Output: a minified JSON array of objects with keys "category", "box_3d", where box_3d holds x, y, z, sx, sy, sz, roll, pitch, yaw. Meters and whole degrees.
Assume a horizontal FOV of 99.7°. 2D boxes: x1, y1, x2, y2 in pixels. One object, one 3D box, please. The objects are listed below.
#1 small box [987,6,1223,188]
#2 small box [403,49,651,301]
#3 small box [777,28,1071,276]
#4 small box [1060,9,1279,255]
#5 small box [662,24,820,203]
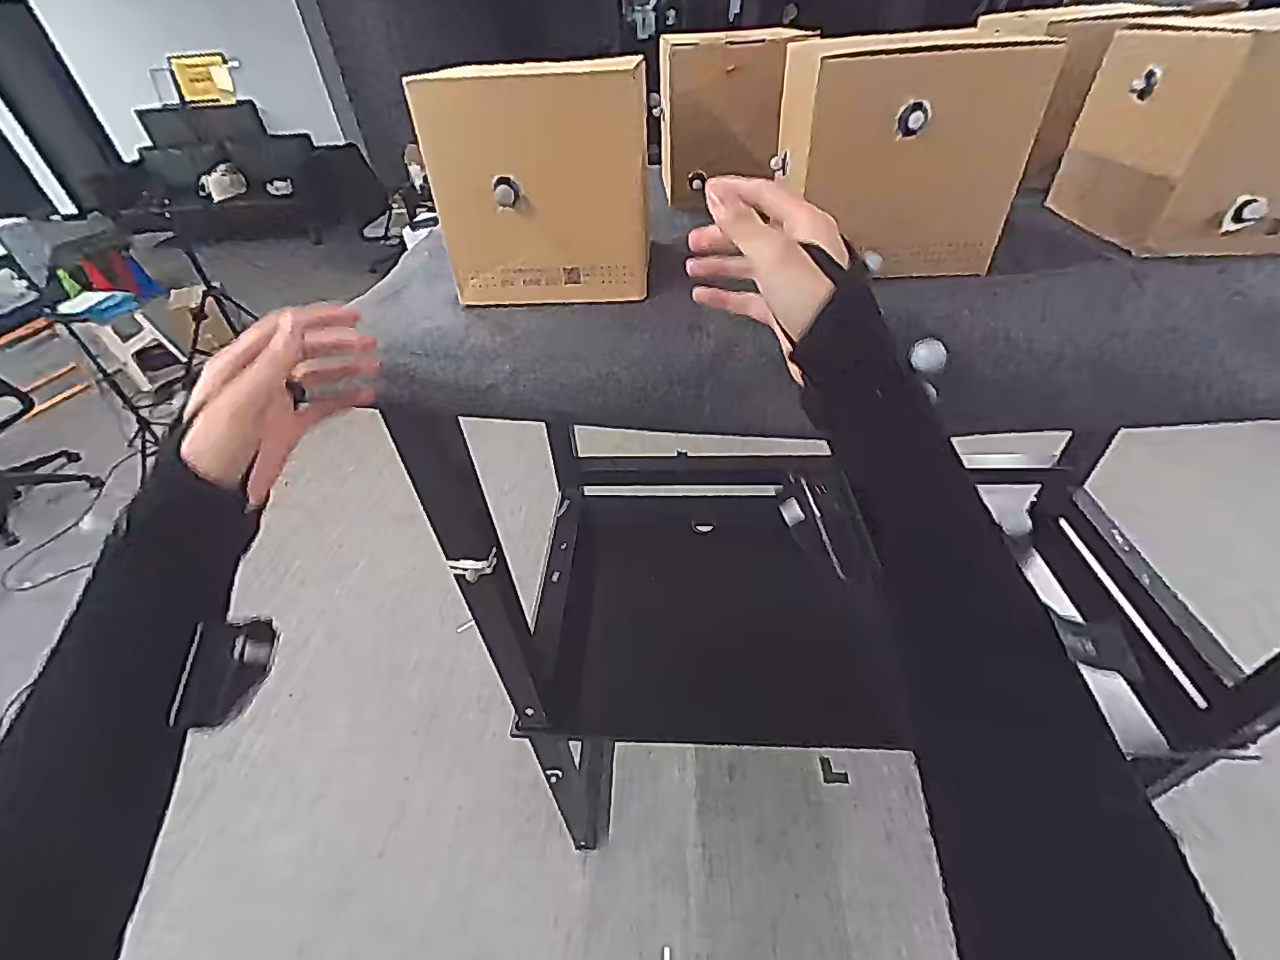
[{"category":"small box","box_3d":[0.523,-0.475,0.673,0.179,0.176,0.168,0,40,3]},{"category":"small box","box_3d":[-0.077,-0.269,0.484,0.168,0.176,0.179,0,39,4]},{"category":"small box","box_3d":[0.224,-0.295,0.491,0.179,0.176,0.168,1,42,5]},{"category":"small box","box_3d":[0.537,-0.317,0.492,0.168,0.176,0.179,0,41,6]},{"category":"small box","box_3d":[0.116,-0.463,0.690,0.168,0.176,0.179,-3,41,1]}]
